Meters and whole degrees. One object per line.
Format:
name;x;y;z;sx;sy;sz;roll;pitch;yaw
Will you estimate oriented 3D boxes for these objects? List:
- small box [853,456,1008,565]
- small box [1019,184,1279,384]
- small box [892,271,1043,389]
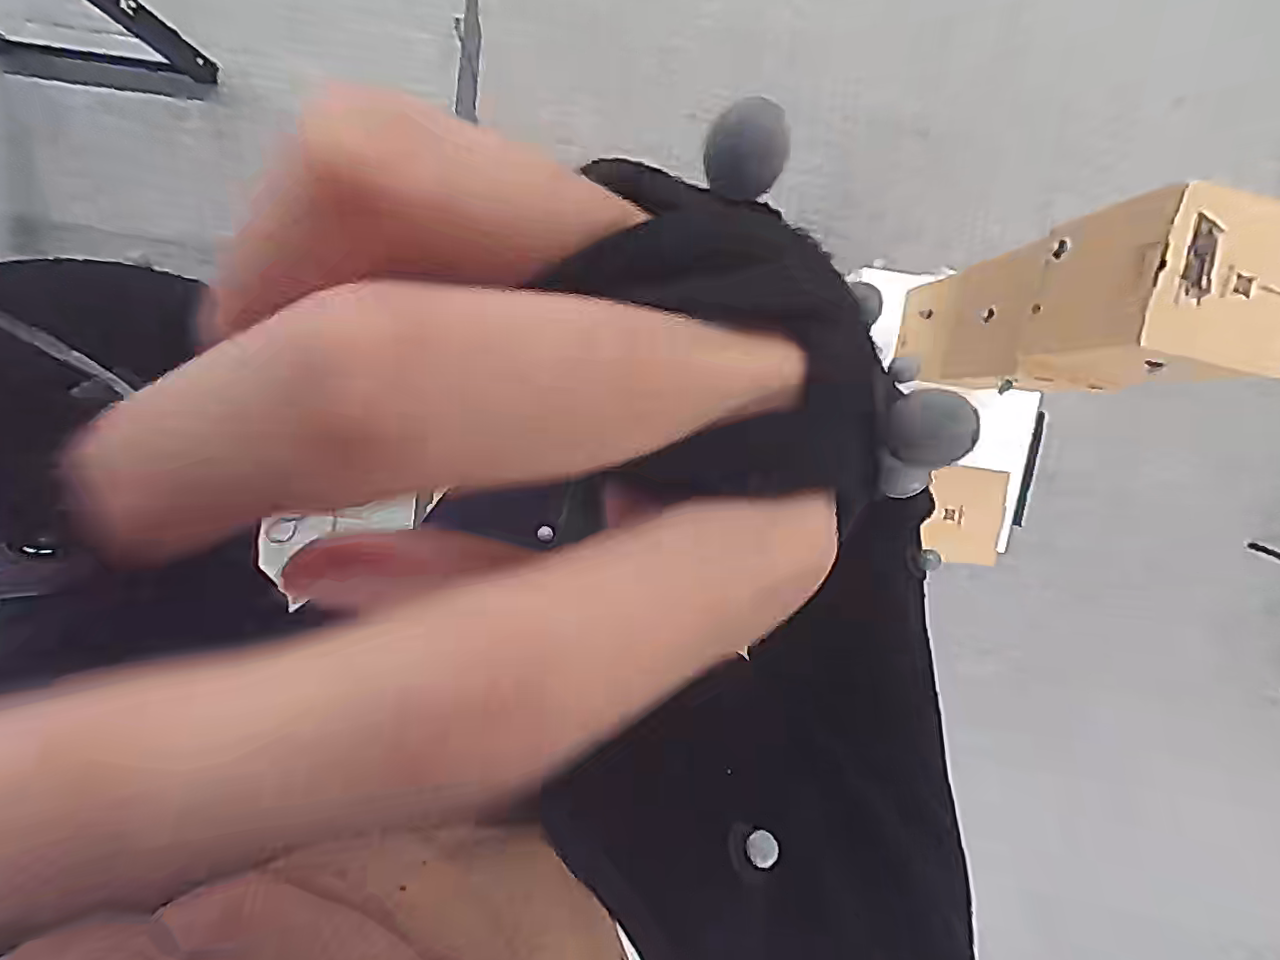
small box;0.522;0.048;0.994;0.179;0.176;0.168;5;98;-5
small box;0.592;-0.207;0.625;0.179;0.176;0.168;11;98;-6
small box;0.576;-0.253;0.951;0.179;0.176;0.168;8;99;-5
